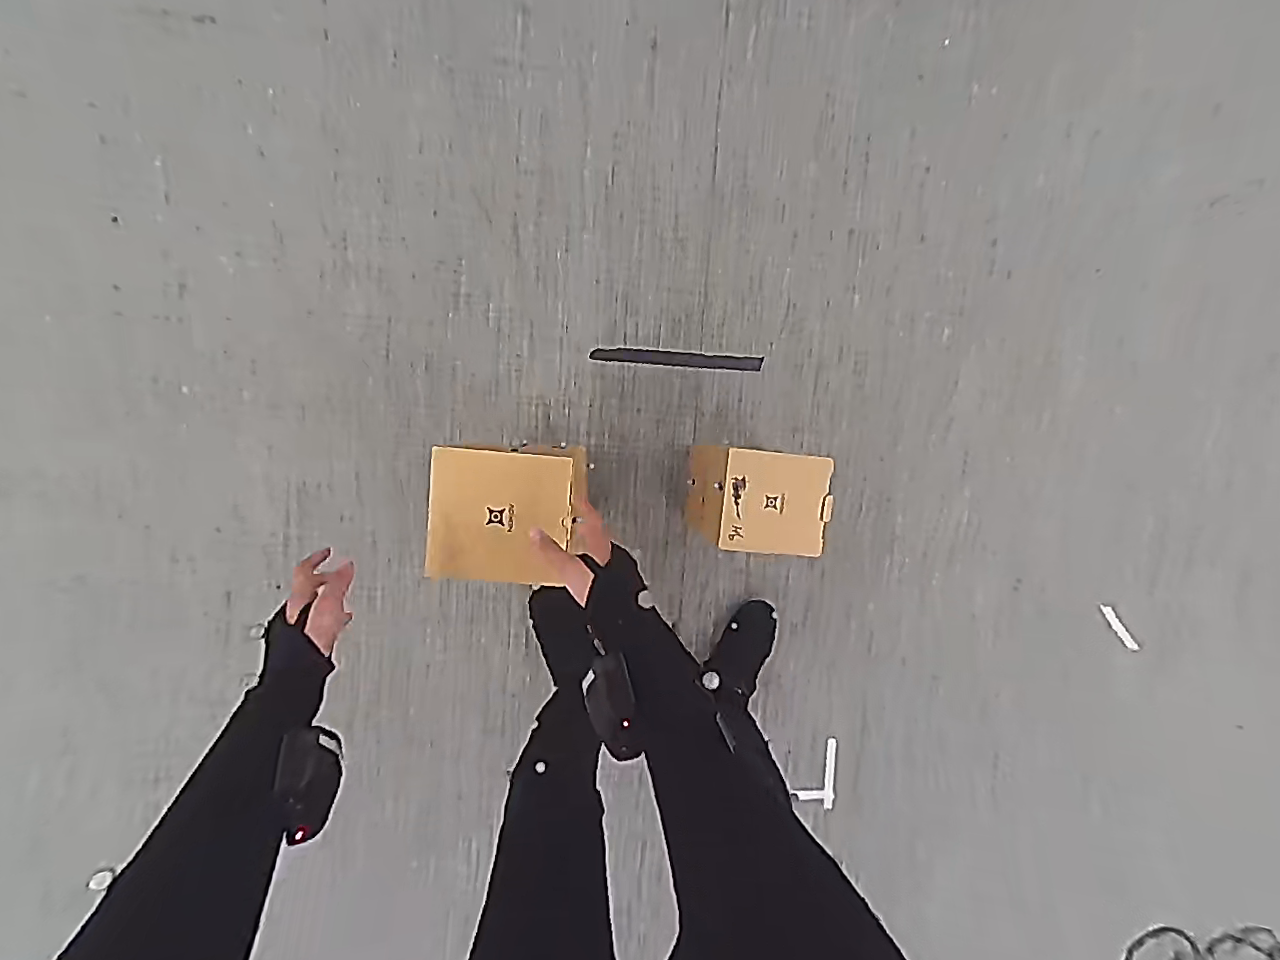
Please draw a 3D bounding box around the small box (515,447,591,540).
[{"bbox_3d":[-0.184,0.023,1.078,0.168,0.176,0.179,-2,95,-4],"label":"small box"}]

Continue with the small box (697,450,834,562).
[{"bbox_3d":[0.210,0.038,0.947,0.179,0.176,0.168,6,94,-7],"label":"small box"}]

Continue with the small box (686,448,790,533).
[{"bbox_3d":[0.196,0.024,1.110,0.179,0.176,0.168,5,95,-6],"label":"small box"}]

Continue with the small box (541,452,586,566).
[{"bbox_3d":[-0.179,0.041,0.915,0.168,0.176,0.179,0,96,-4],"label":"small box"}]

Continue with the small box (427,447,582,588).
[{"bbox_3d":[-0.176,0.044,0.752,0.179,0.176,0.168,5,94,-5],"label":"small box"}]
